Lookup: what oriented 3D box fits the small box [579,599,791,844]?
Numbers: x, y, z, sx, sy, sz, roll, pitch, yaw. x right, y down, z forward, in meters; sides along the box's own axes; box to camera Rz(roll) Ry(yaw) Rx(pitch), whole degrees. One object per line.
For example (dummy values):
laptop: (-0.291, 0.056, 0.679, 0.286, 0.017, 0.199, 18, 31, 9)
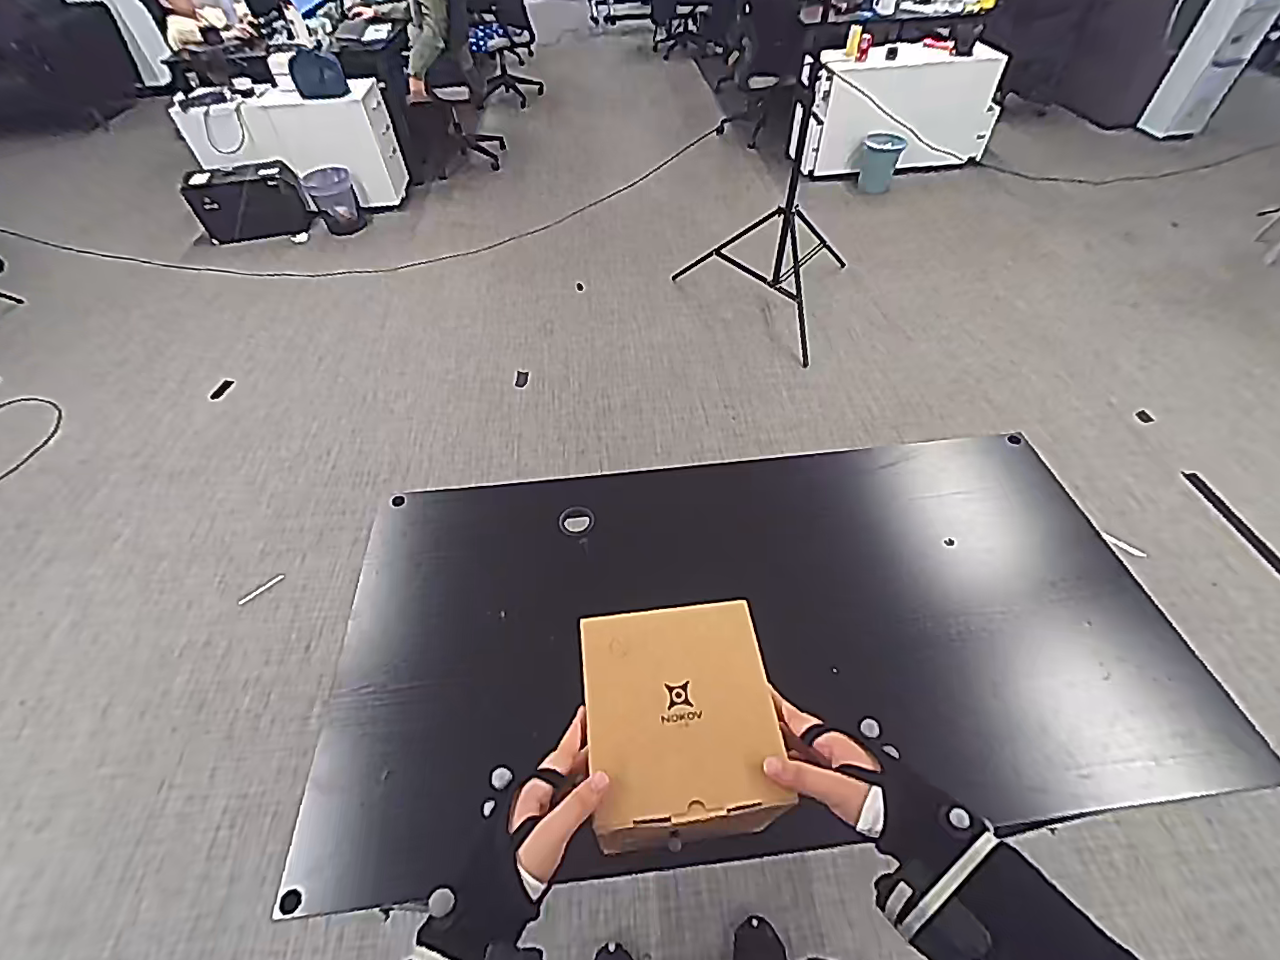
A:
small box: (0.030, 0.241, 0.538, 0.168, 0.176, 0.179, -6, 52, -5)
